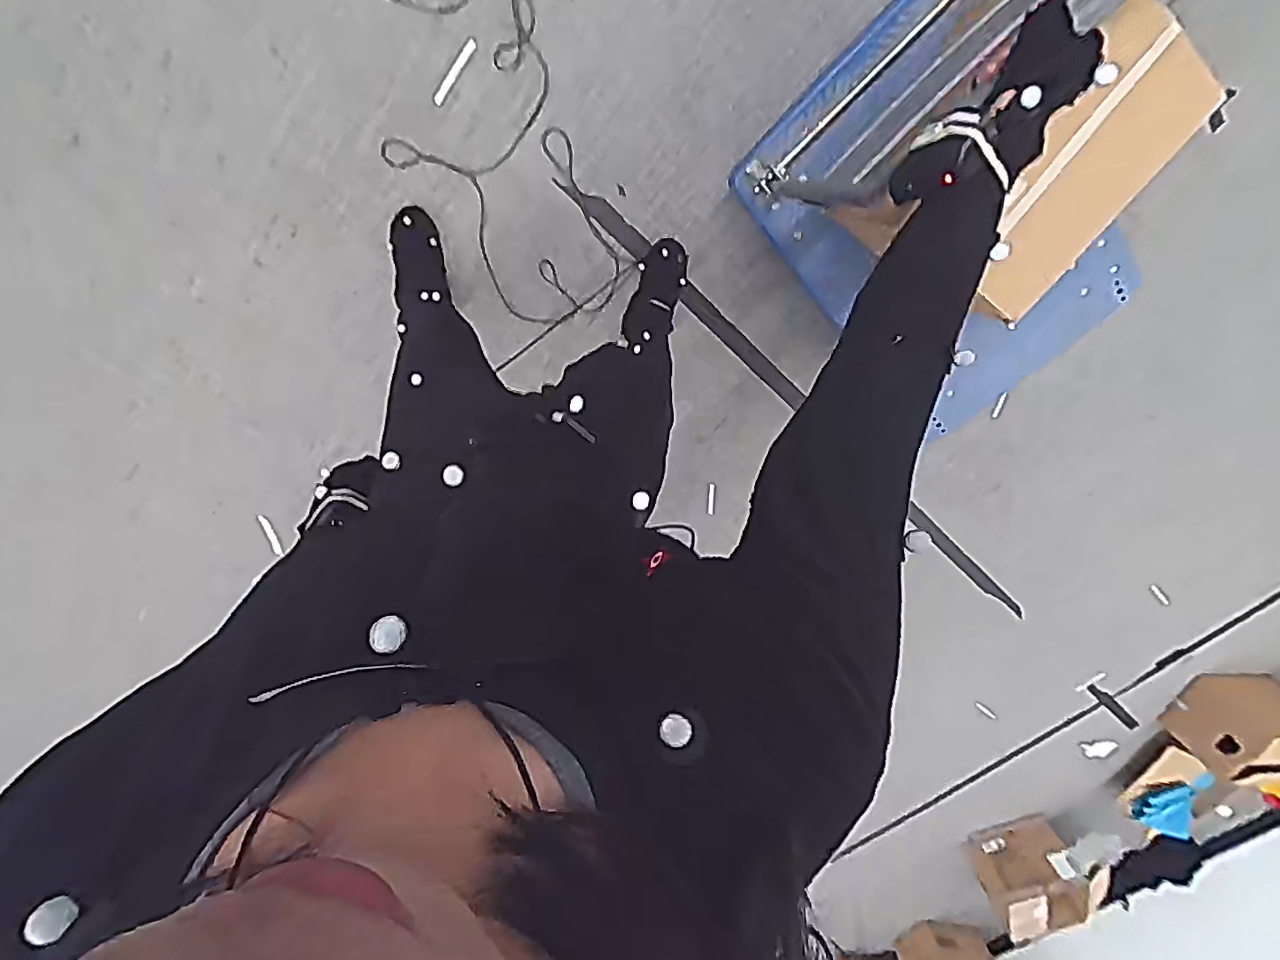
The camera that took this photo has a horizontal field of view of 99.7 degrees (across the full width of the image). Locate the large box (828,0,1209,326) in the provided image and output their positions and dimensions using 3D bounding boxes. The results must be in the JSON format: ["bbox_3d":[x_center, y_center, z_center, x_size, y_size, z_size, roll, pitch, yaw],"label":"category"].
[{"bbox_3d":[0.632,-0.568,0.980,0.320,0.320,0.408,27,115,-19],"label":"large box"}]
